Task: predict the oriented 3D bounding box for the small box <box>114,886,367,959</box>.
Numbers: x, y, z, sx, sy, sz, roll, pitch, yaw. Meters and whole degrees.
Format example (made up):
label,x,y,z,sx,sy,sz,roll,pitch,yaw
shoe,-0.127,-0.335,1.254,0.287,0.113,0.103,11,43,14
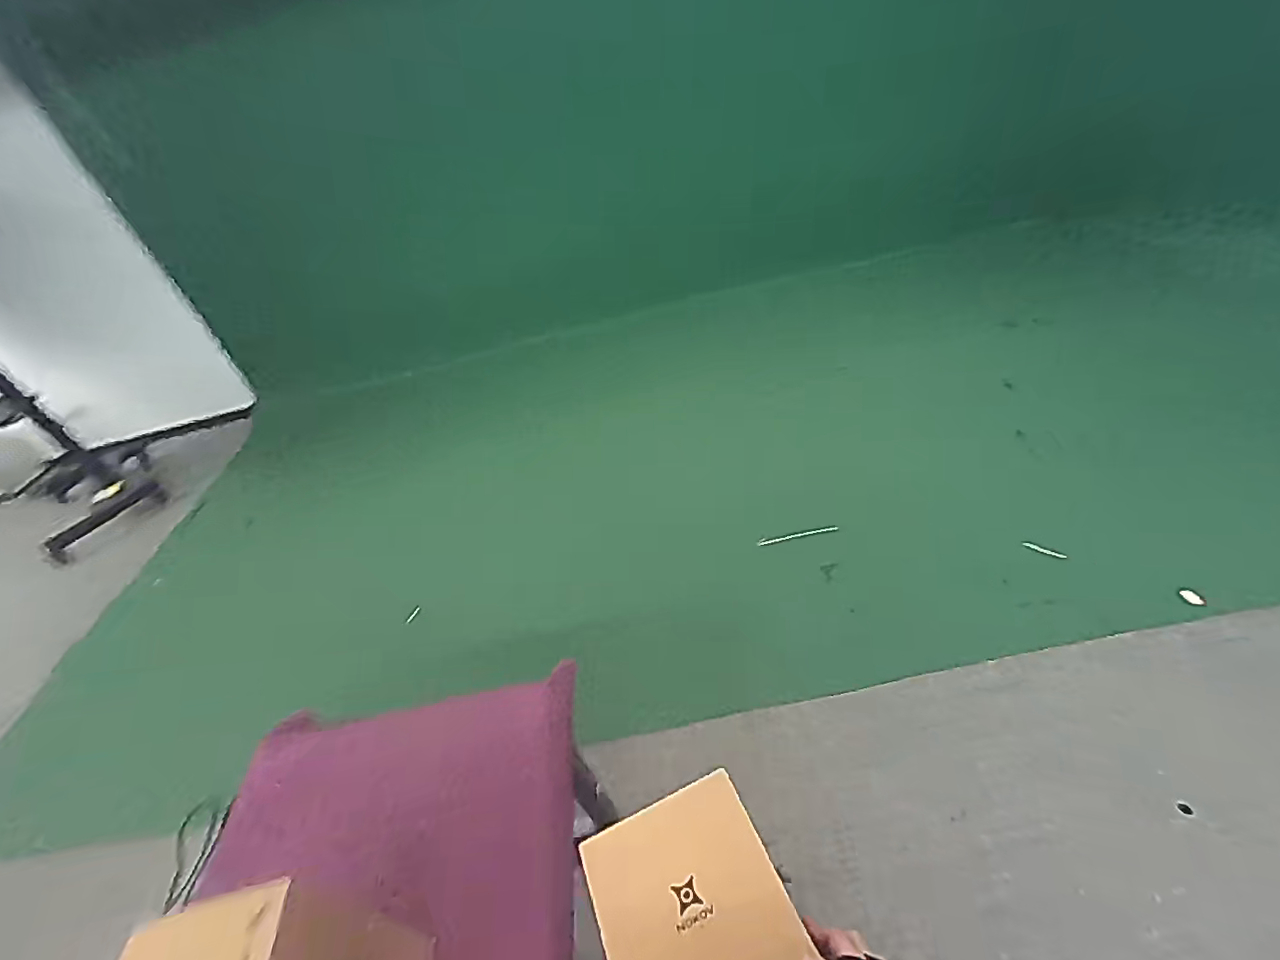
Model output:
label,x,y,z,sx,sy,sz,roll,pitch,yaw
small box,-0.417,0.552,0.546,0.179,0.176,0.168,-17,39,-1
